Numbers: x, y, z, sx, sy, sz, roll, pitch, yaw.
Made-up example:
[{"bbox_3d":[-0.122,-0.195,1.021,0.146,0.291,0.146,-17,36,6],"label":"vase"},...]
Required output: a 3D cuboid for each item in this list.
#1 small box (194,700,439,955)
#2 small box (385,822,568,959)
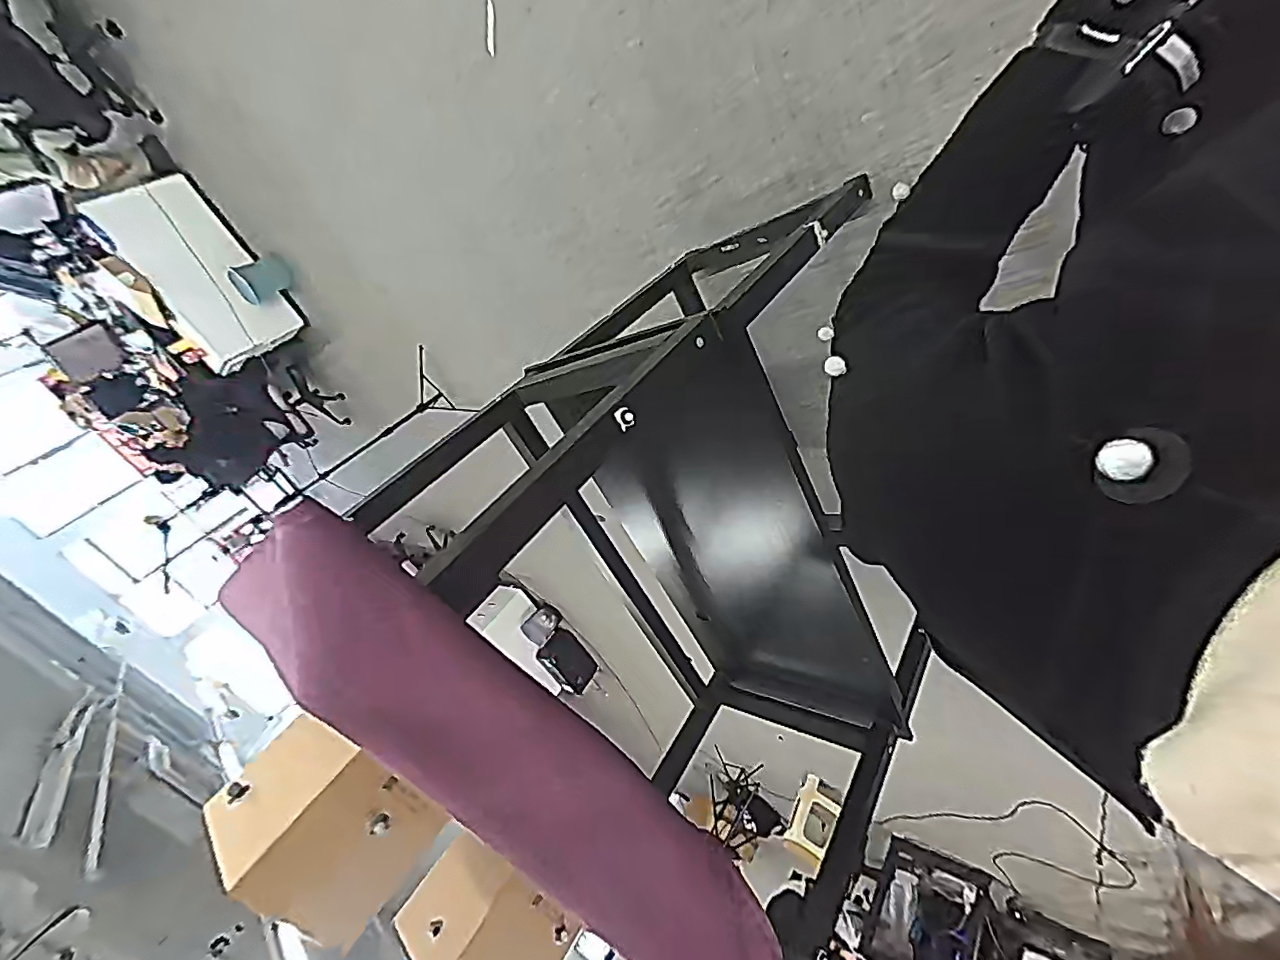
[{"bbox_3d":[-0.377,0.395,0.647,0.179,0.176,0.168,3,132,45],"label":"small box"},{"bbox_3d":[-0.233,0.652,0.800,0.179,0.176,0.168,-7,124,50],"label":"small box"}]
